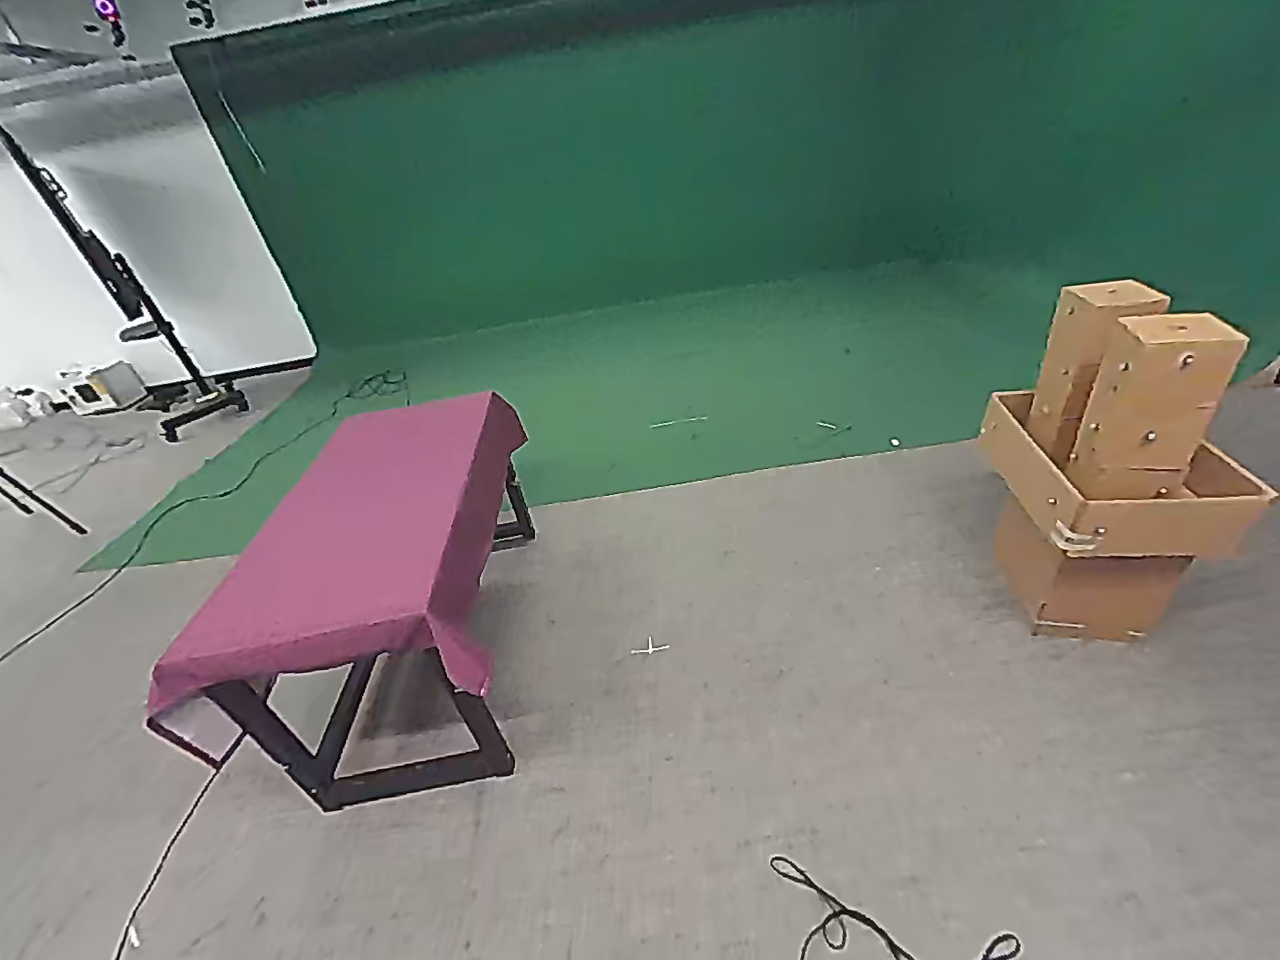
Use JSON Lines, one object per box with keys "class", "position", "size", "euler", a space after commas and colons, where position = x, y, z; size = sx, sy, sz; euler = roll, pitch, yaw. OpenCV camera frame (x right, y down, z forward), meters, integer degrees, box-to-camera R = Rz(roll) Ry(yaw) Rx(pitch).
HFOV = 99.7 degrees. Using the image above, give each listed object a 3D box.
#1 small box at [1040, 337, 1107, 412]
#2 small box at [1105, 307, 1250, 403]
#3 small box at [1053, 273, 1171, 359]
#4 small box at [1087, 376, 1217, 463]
{"class": "small box", "position": [1.304, -0.314, 1.569], "size": [0.168, 0.176, 0.179], "euler": [-4, 36, 12]}
{"class": "small box", "position": [1.223, -0.288, 1.254], "size": [0.179, 0.176, 0.168], "euler": [2, 36, 18]}
{"class": "small box", "position": [1.273, -0.447, 1.476], "size": [0.168, 0.176, 0.179], "euler": [-5, 36, 12]}
{"class": "small box", "position": [1.251, -0.154, 1.343], "size": [0.179, 0.176, 0.168], "euler": [0, 35, 18]}
